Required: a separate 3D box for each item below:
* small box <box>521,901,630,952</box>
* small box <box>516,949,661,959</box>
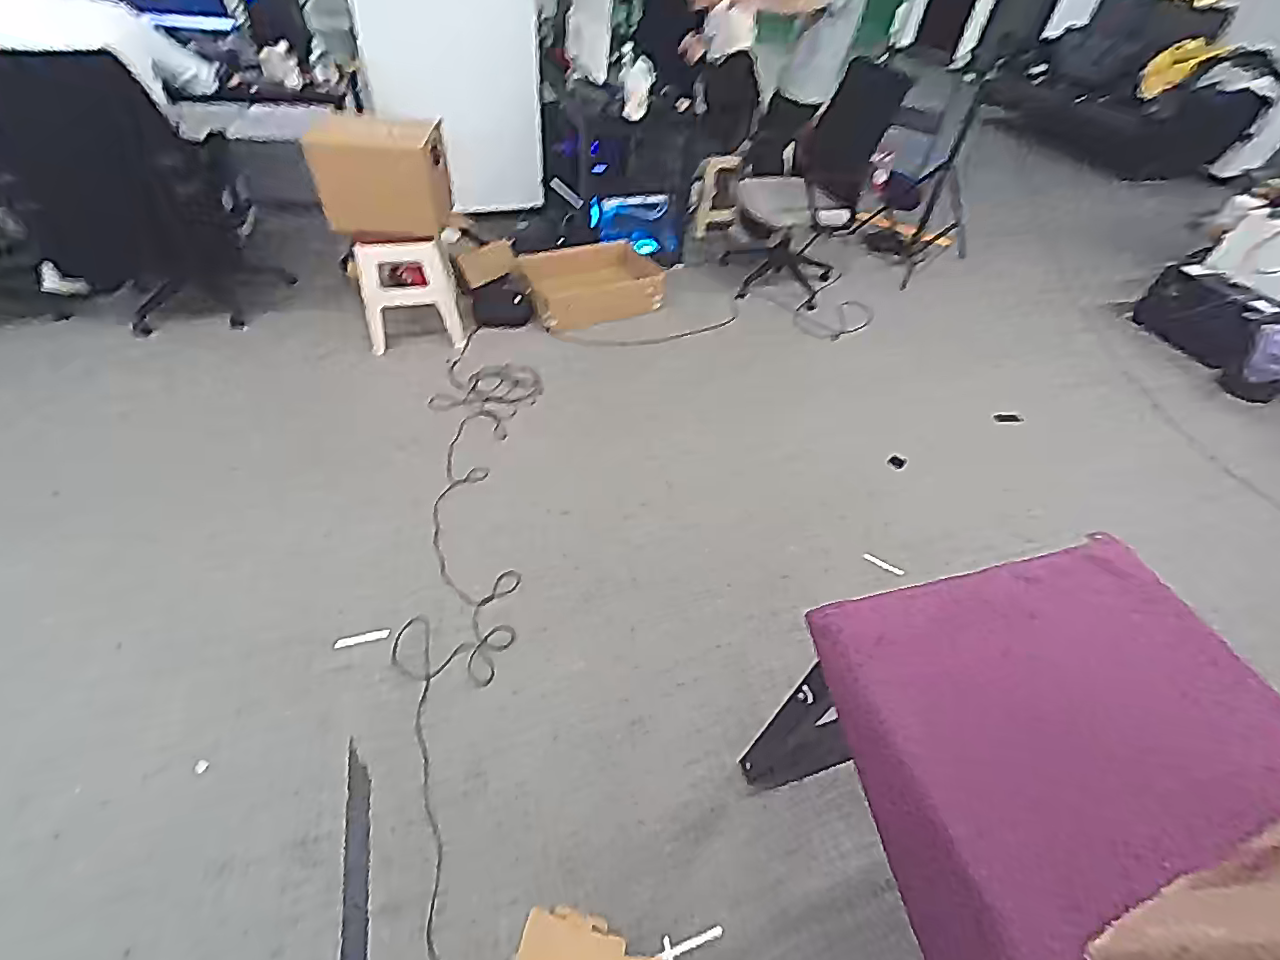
[{"bbox_3d":[-0.123,0.819,0.870,0.168,0.176,0.179,15,48,7],"label":"small box"},{"bbox_3d":[-0.060,0.627,0.540,0.168,0.176,0.179,3,9,-2],"label":"small box"}]
